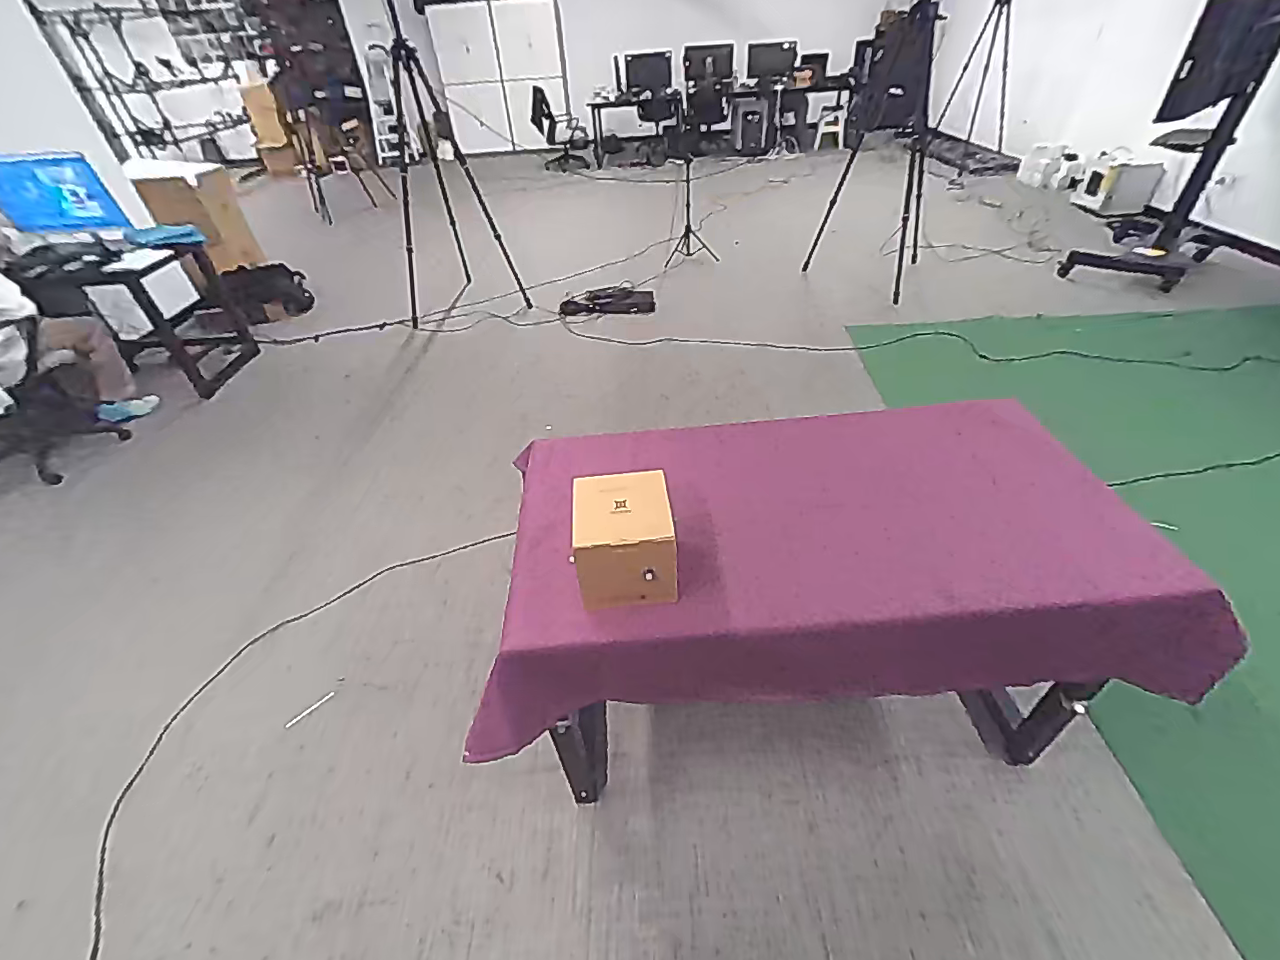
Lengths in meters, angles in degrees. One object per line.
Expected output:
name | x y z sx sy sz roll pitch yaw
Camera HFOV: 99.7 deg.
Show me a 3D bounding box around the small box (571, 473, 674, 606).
small box | -0.029 0.111 0.966 0.168 0.176 0.179 -5 39 -2
